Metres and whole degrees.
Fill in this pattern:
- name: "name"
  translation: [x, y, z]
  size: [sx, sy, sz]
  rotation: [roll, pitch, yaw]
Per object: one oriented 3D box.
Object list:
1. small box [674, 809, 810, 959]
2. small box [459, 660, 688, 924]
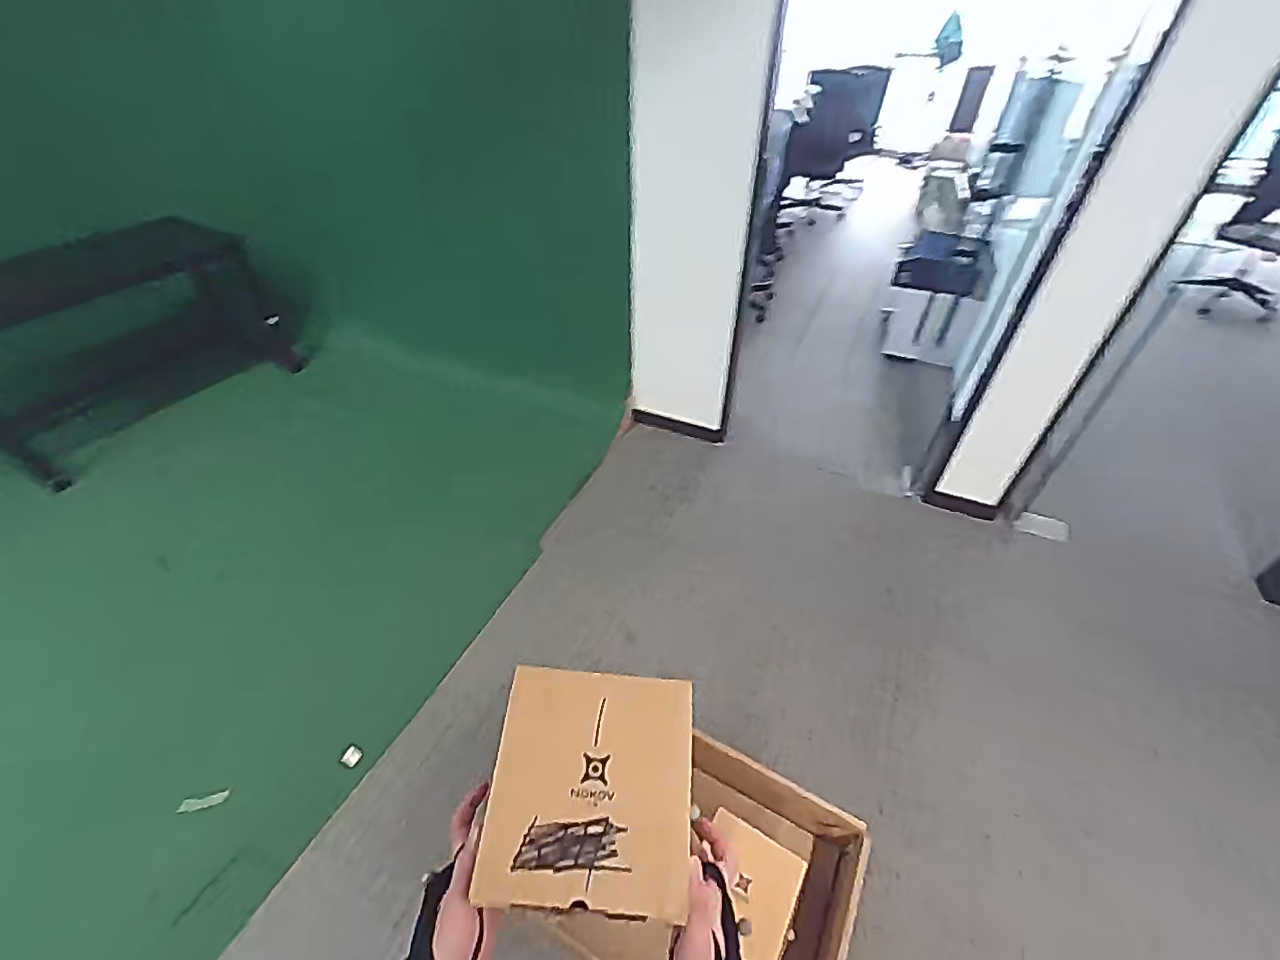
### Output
- name: "small box"
  translation: [0.166, 0.711, 0.917]
  size: [0.168, 0.176, 0.179]
  rotation: [23, 48, 22]
- name: "small box"
  translation: [-0.048, 0.286, 0.502]
  size: [0.168, 0.176, 0.179]
  rotation: [6, 54, 0]
